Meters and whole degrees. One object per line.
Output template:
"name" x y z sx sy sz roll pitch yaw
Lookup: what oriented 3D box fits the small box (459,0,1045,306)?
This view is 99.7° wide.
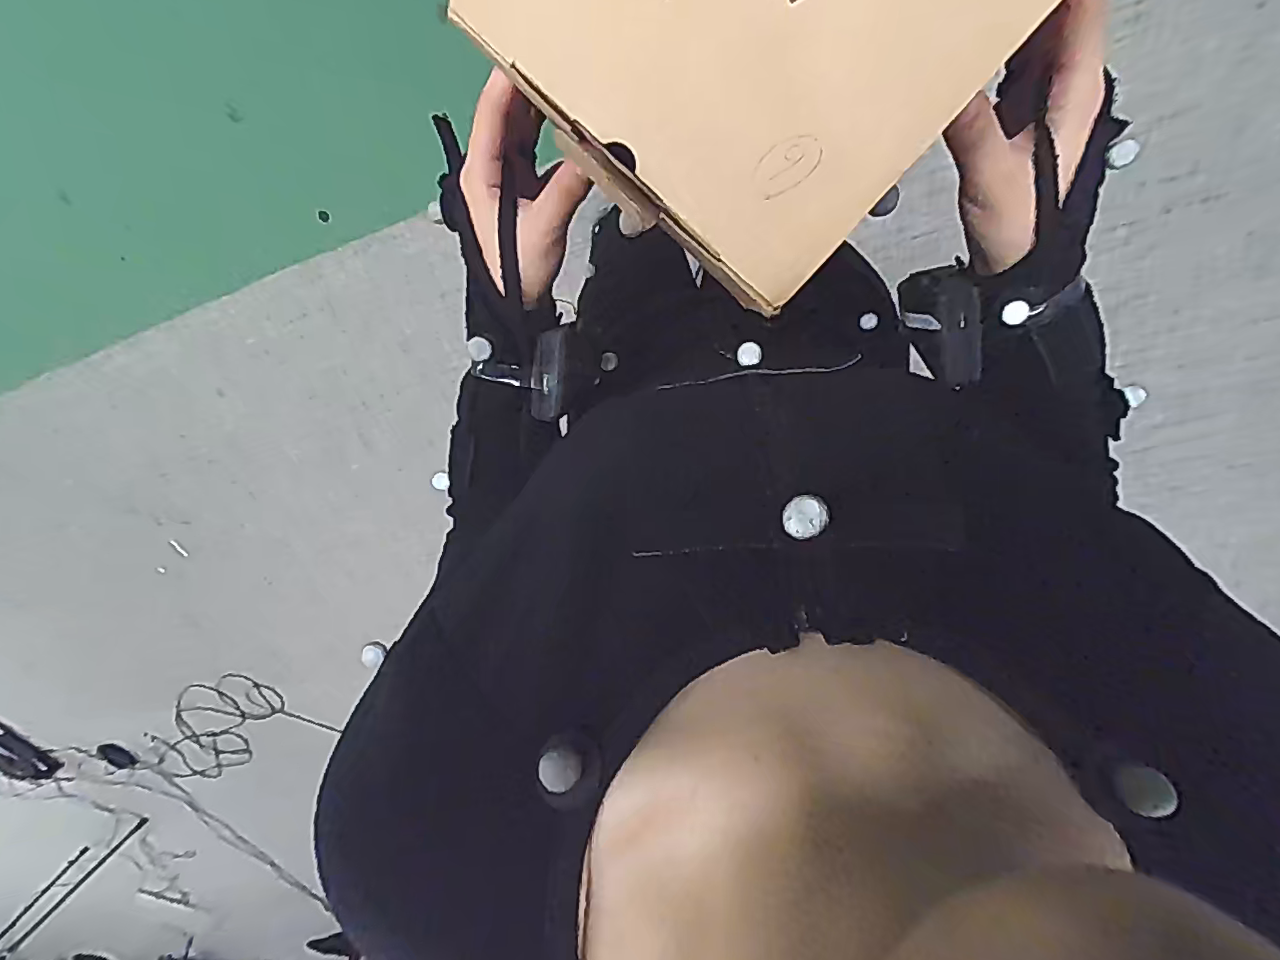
"small box" 0.057 -0.206 0.258 0.168 0.176 0.179 40 110 -6
